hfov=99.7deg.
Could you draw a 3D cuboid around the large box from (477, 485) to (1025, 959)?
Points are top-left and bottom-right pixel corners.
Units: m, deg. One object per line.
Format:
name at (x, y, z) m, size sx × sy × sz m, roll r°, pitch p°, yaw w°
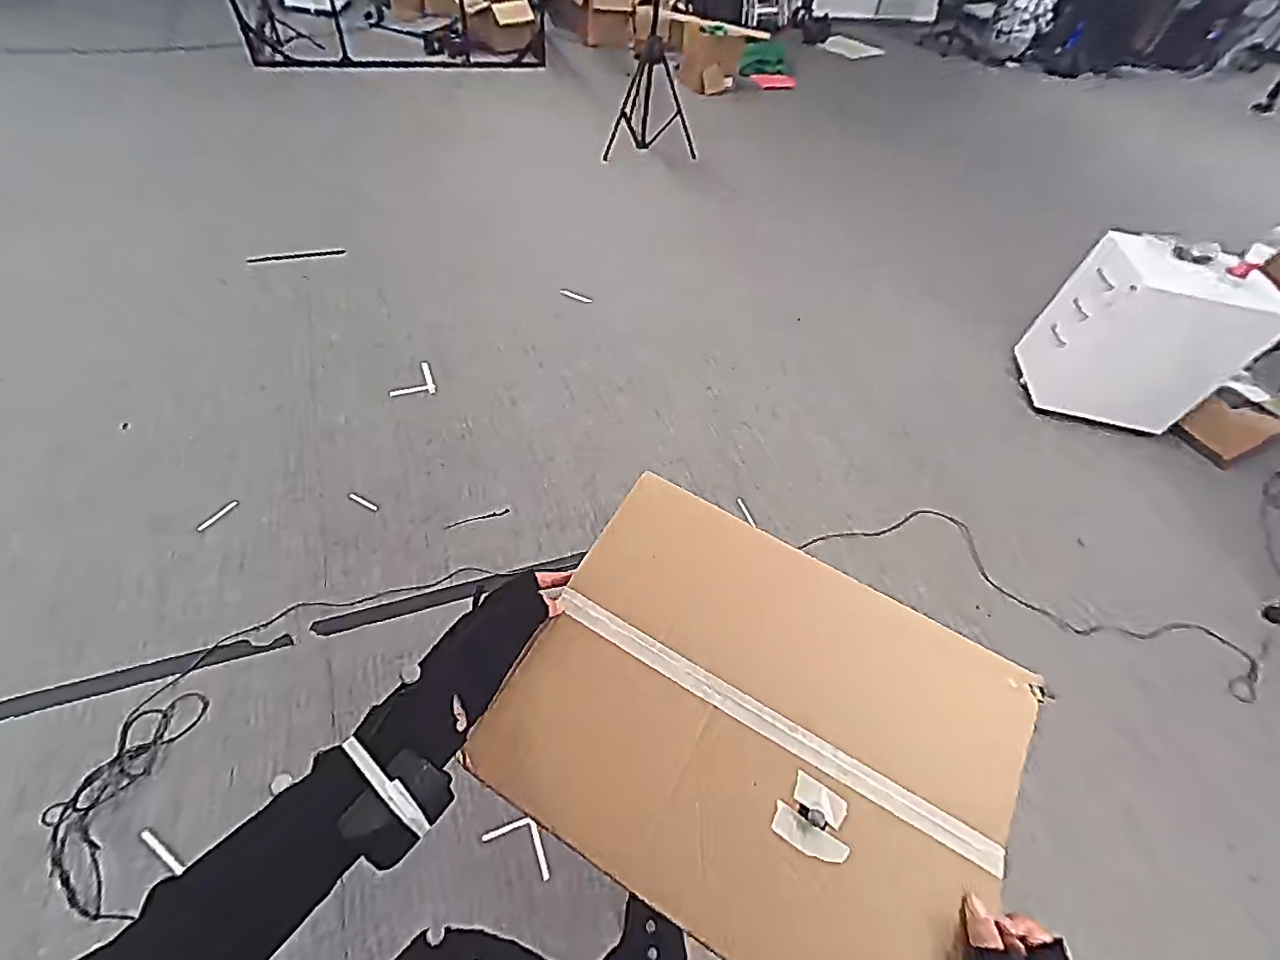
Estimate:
large box at (0.101, 0.274, 0.604) m, size 0.408 × 0.320 × 0.320 m, roll 29°, pitch 66°, yaw 12°
